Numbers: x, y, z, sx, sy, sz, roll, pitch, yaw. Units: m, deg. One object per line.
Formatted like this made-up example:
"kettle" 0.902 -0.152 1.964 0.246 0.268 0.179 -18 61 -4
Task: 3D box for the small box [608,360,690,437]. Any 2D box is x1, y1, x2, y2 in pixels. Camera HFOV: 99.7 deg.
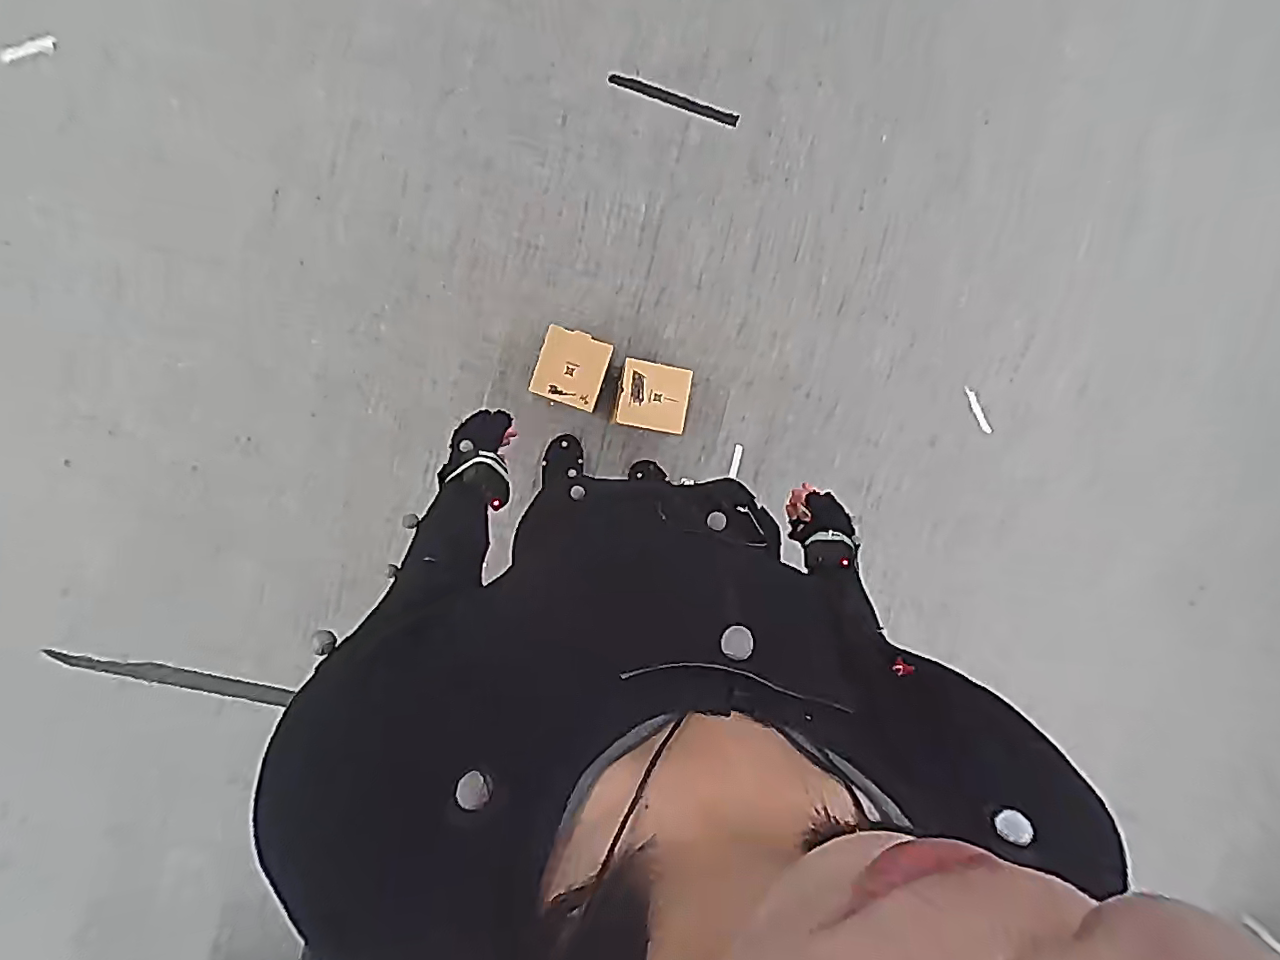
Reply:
"small box" 0.017 -0.209 1.436 0.179 0.176 0.168 10 93 -9

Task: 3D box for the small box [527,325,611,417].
"small box" -0.186 -0.274 1.403 0.168 0.176 0.179 19 91 -8
